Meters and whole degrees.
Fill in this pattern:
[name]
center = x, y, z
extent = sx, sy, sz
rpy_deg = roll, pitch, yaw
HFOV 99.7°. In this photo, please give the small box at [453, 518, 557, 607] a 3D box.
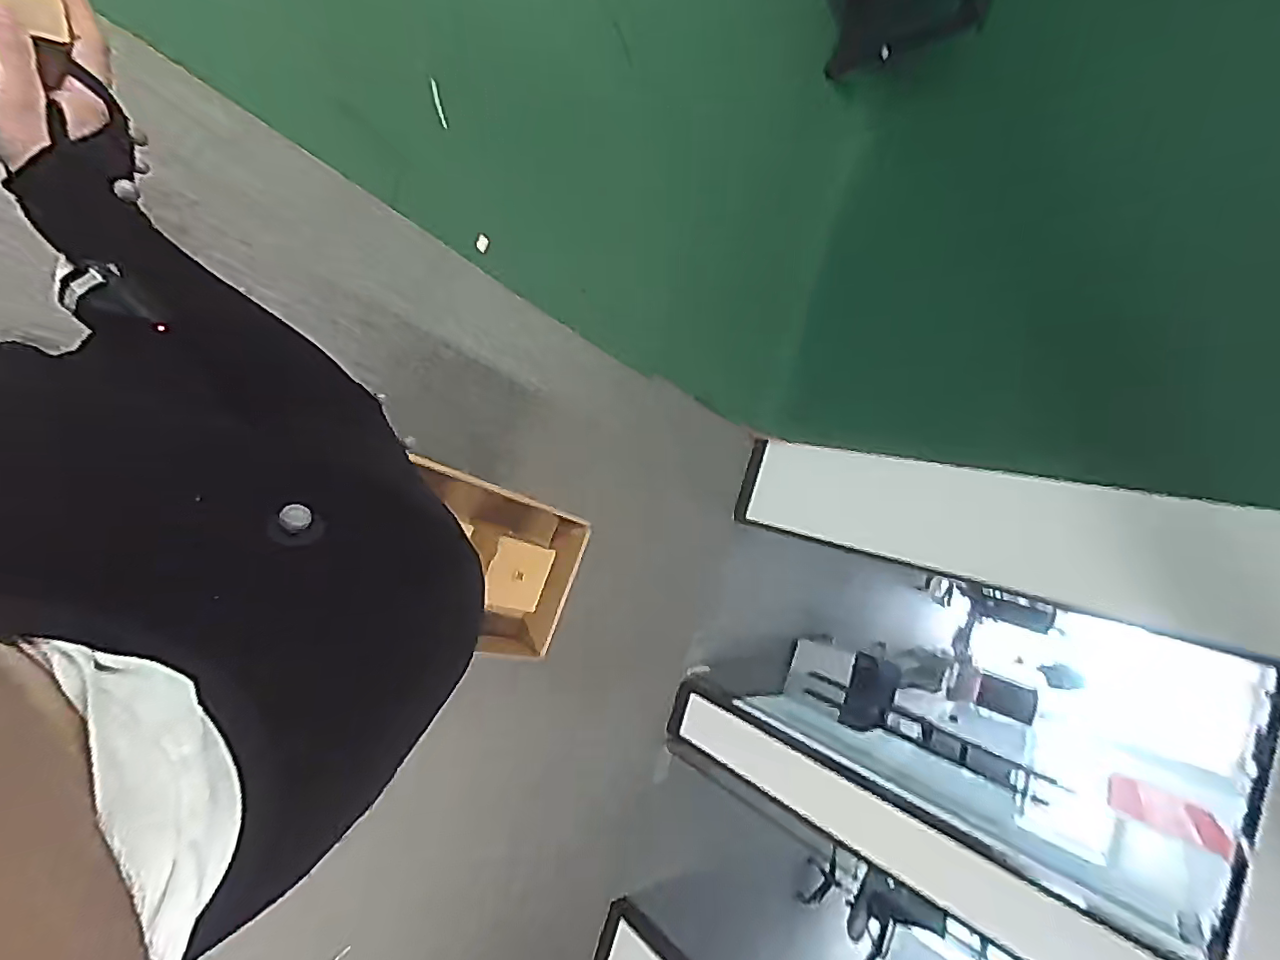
[small box]
center = -0.351, 0.207, 1.379
extent = 0.179, 0.176, 0.168
rpy_deg = 26, 83, -45
